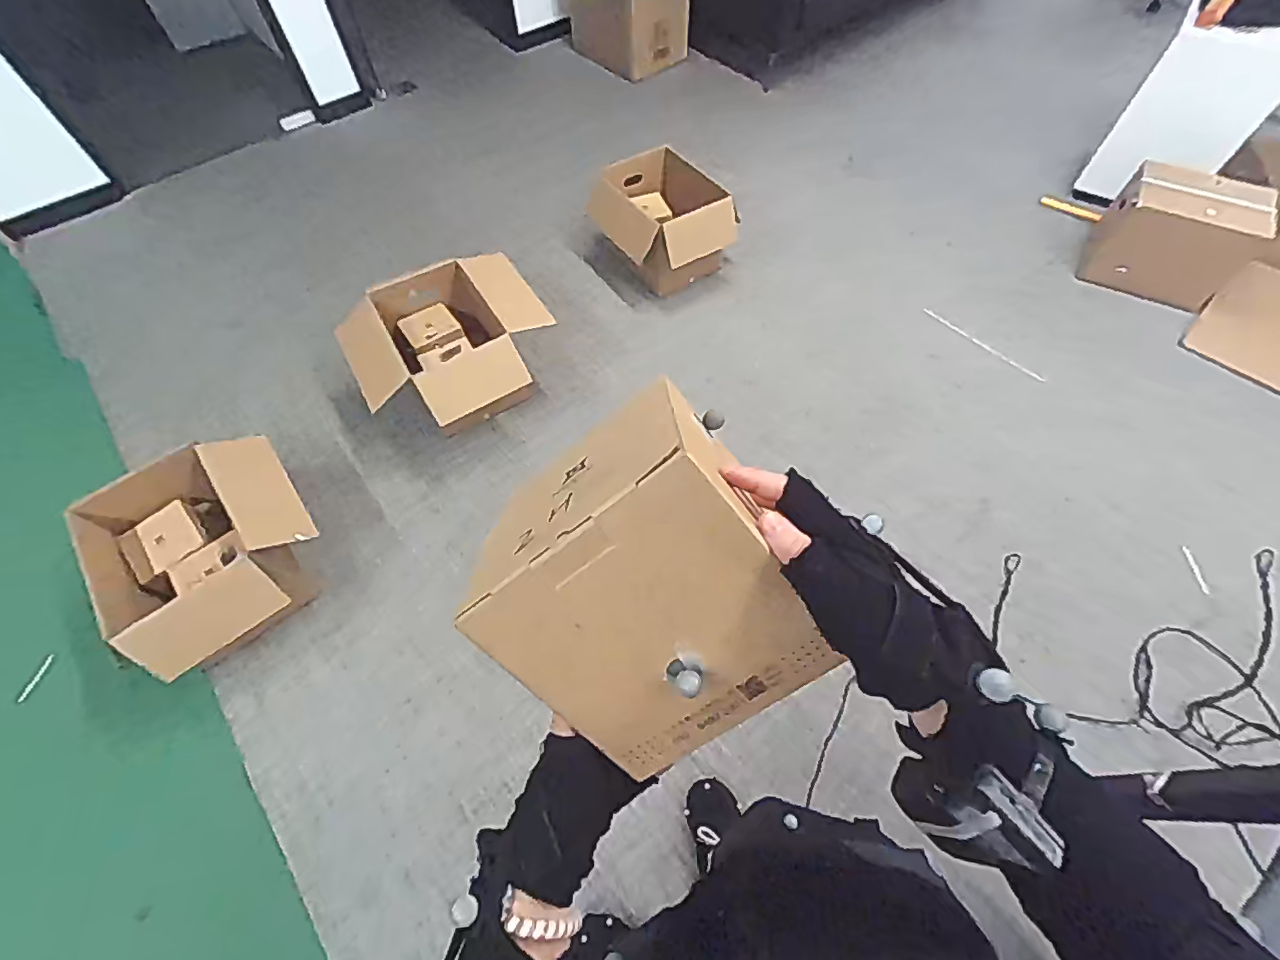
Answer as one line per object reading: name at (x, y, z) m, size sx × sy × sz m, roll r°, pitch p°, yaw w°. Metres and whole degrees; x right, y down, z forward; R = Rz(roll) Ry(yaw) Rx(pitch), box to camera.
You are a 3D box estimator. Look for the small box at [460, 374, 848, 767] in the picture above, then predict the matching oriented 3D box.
small box at (0.012, 0.055, 0.383) m, size 0.168 × 0.176 × 0.179 m, roll -37°, pitch 19°, yaw 13°
